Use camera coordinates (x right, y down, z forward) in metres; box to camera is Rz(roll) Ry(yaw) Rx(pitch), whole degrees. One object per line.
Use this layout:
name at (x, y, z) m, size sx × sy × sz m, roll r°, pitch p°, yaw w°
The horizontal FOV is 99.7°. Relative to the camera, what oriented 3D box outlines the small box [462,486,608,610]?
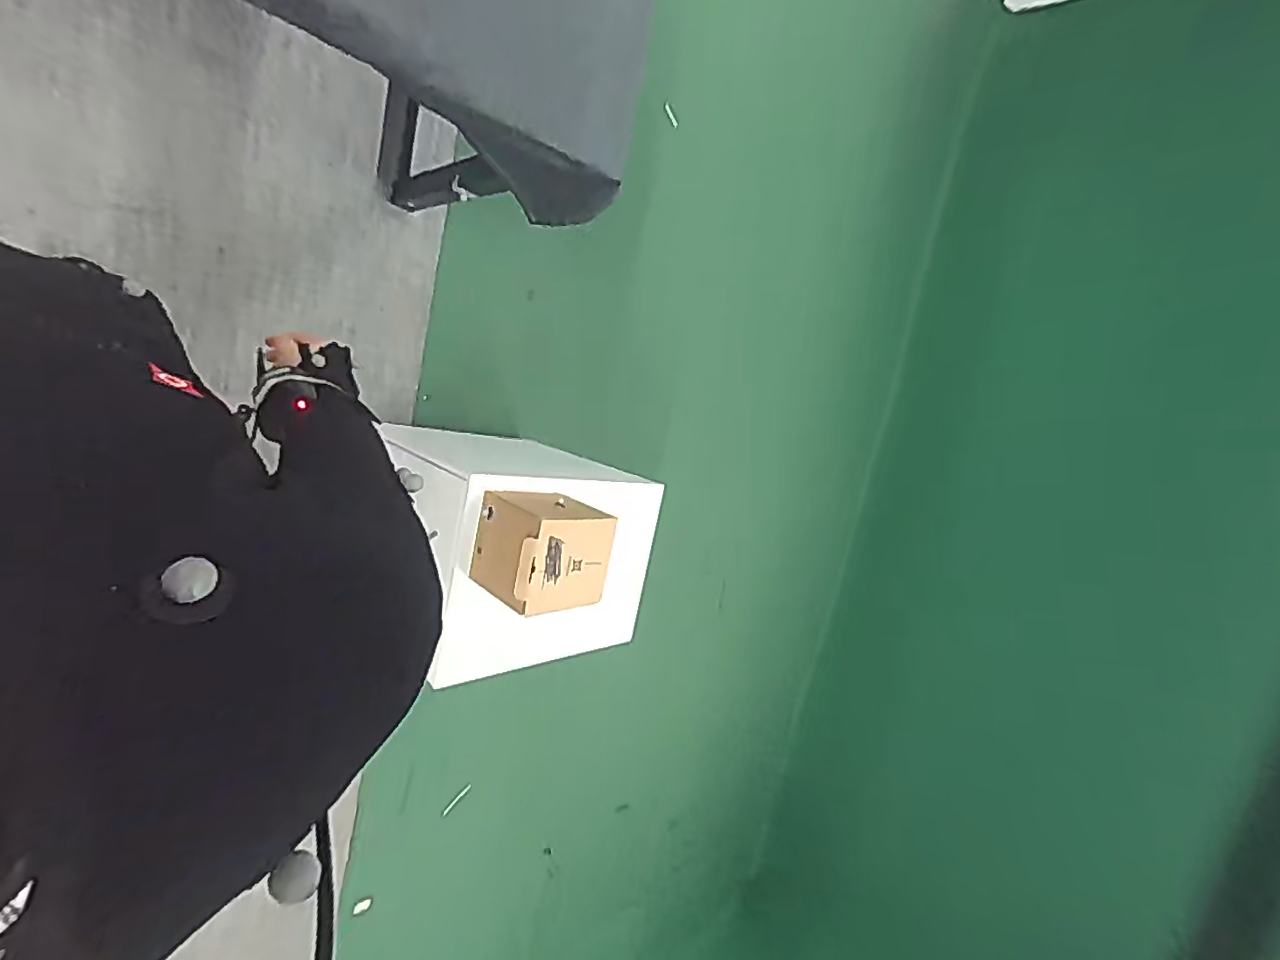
small box at (-0.188, 0.111, 0.952) m, size 0.179 × 0.176 × 0.168 m, roll 4°, pitch 103°, yaw -50°
